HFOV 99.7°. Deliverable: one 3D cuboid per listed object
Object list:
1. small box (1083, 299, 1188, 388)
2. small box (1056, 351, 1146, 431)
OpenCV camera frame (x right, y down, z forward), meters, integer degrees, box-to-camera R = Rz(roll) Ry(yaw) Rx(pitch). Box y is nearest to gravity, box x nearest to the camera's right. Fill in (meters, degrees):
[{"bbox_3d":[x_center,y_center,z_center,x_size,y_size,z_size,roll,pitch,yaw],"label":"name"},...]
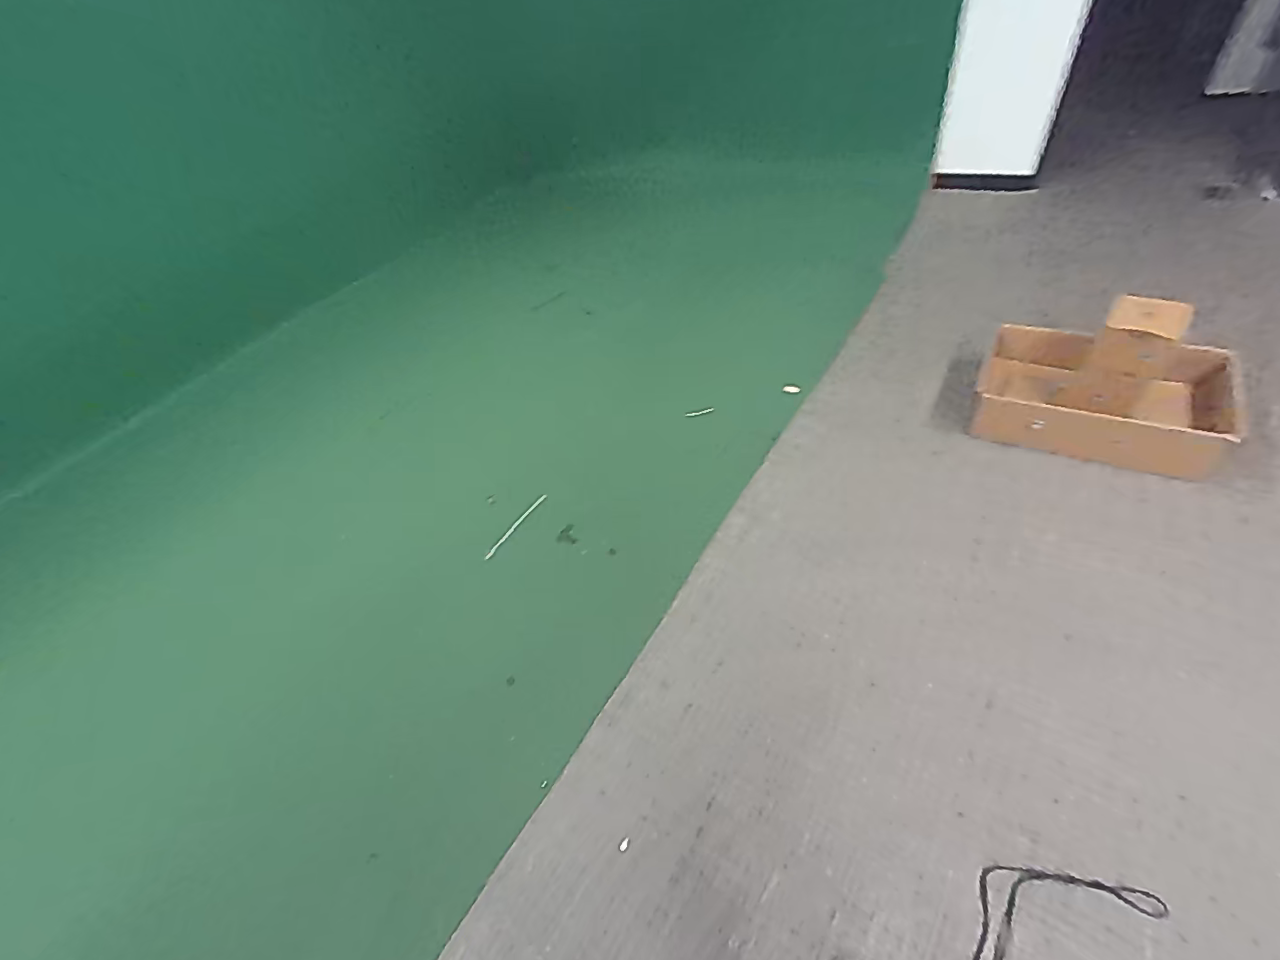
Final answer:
[{"bbox_3d":[1.424,-0.393,1.563,0.168,0.176,0.179,26,58,31],"label":"small box"},{"bbox_3d":[1.449,-0.275,1.693,0.179,0.176,0.168,22,57,33],"label":"small box"}]
